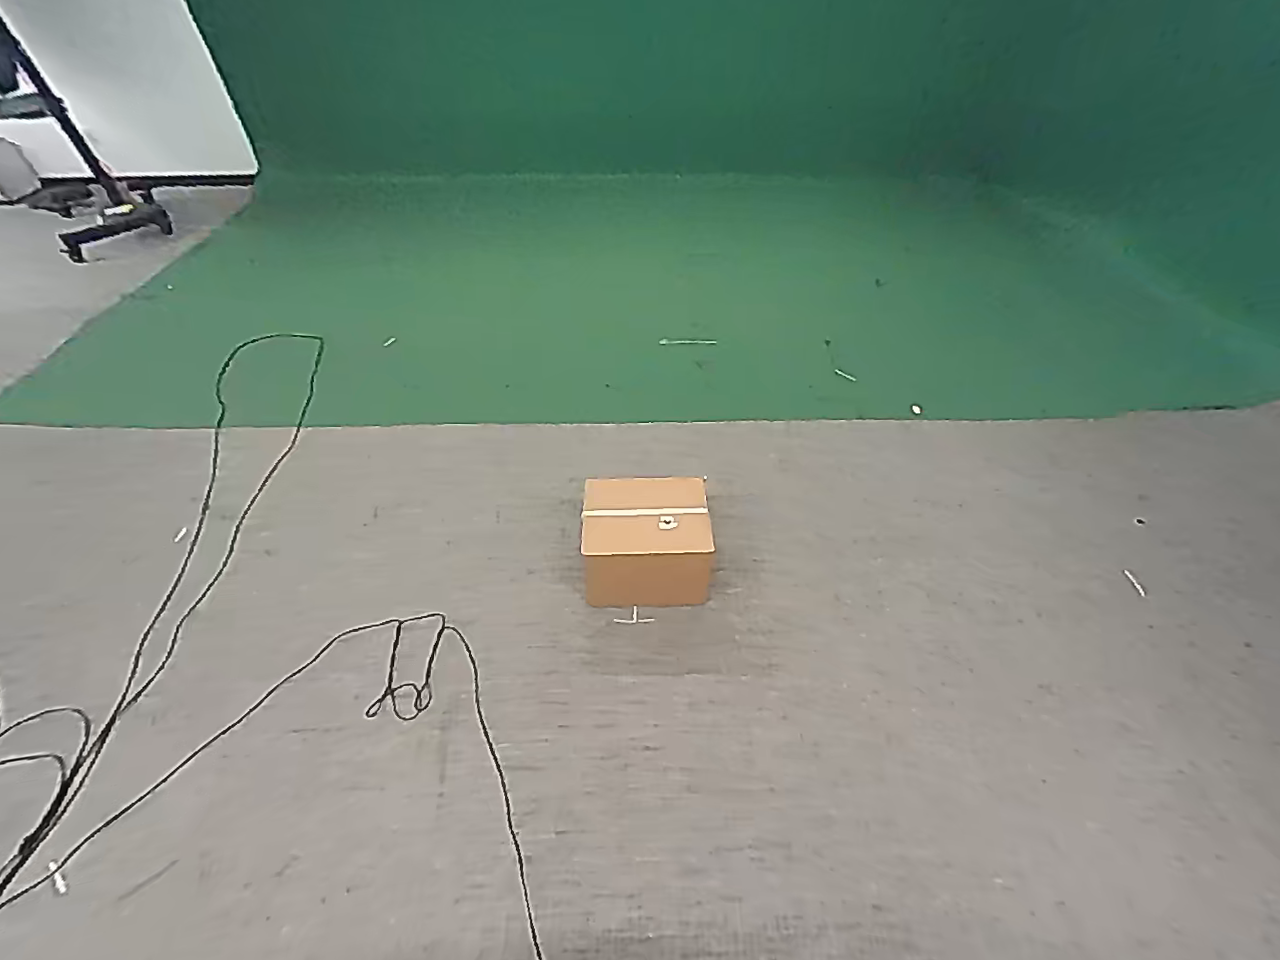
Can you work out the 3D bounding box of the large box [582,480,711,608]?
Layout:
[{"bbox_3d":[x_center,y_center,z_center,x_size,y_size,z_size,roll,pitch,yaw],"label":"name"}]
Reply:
[{"bbox_3d":[0.011,0.219,1.846,0.408,0.320,0.320,-2,47,-2],"label":"large box"}]
